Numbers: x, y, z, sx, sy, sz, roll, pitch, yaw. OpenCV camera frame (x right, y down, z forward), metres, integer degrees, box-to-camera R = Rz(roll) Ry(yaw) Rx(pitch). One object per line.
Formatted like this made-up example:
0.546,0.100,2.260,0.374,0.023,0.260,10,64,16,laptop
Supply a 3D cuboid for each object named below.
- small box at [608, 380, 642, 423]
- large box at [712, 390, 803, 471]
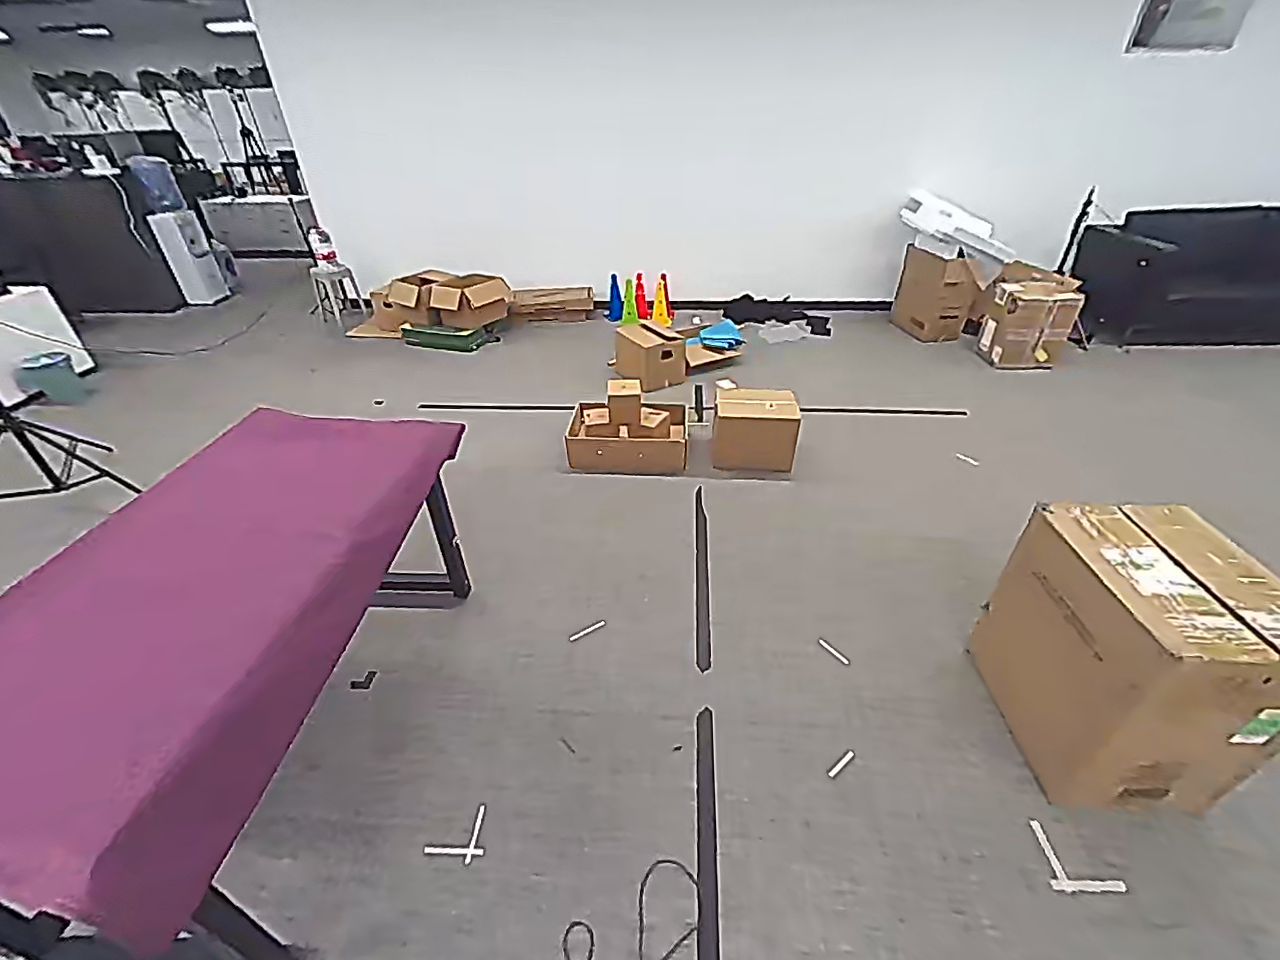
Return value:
-0.076,-0.398,2.768,0.168,0.176,0.179,-2,34,-3,small box
0.592,-0.258,2.807,0.408,0.320,0.320,3,36,3,large box
